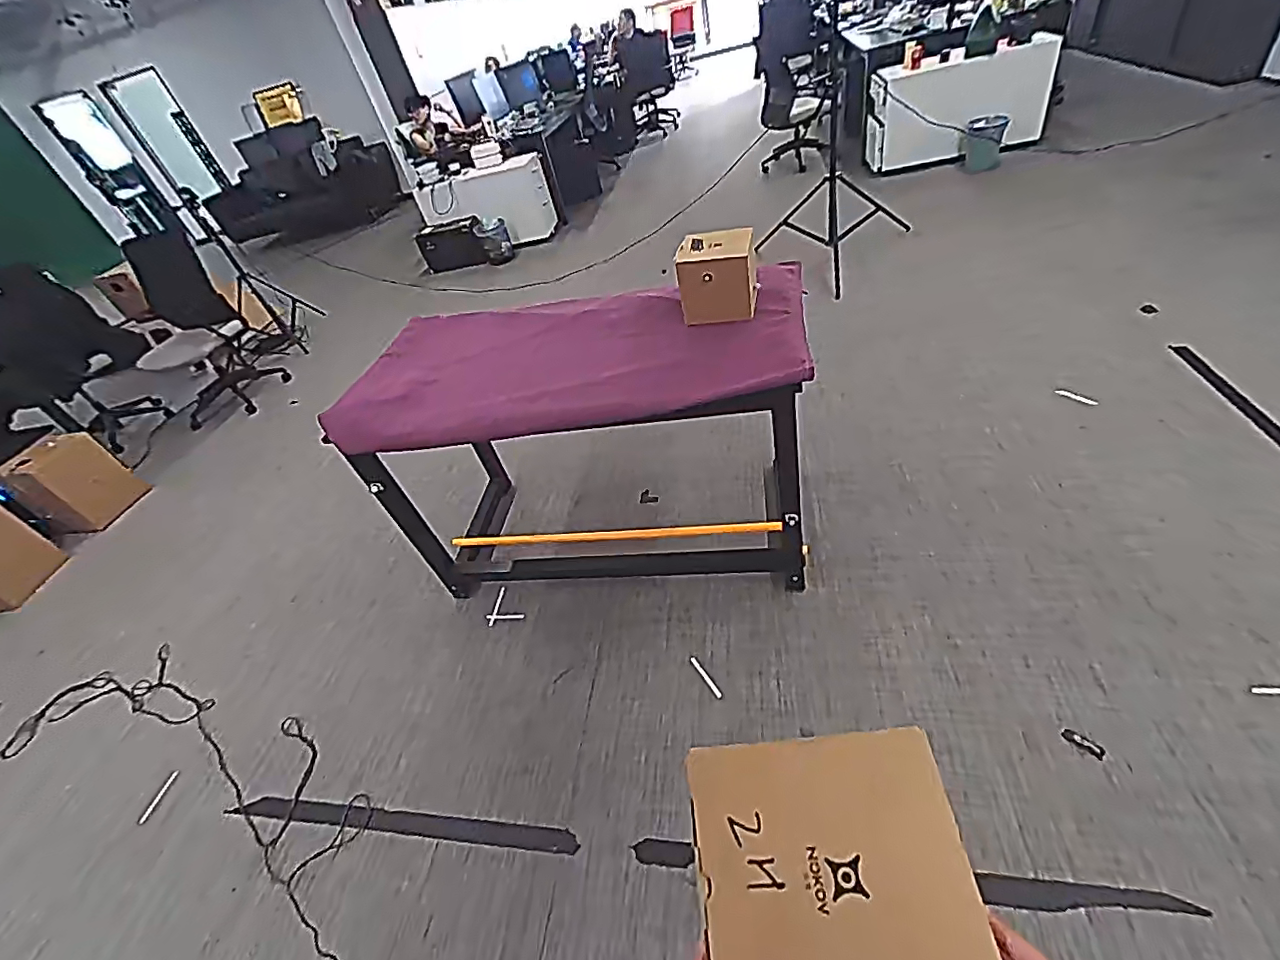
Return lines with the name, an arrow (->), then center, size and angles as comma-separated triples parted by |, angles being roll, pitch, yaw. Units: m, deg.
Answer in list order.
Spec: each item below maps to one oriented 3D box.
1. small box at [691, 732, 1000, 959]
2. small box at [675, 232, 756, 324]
small box -> 0.138, 0.301, 0.421 | 0.179, 0.176, 0.168 | -8, 57, 5
small box -> 0.201, -0.515, 1.393 | 0.179, 0.176, 0.168 | 1, 46, 17
